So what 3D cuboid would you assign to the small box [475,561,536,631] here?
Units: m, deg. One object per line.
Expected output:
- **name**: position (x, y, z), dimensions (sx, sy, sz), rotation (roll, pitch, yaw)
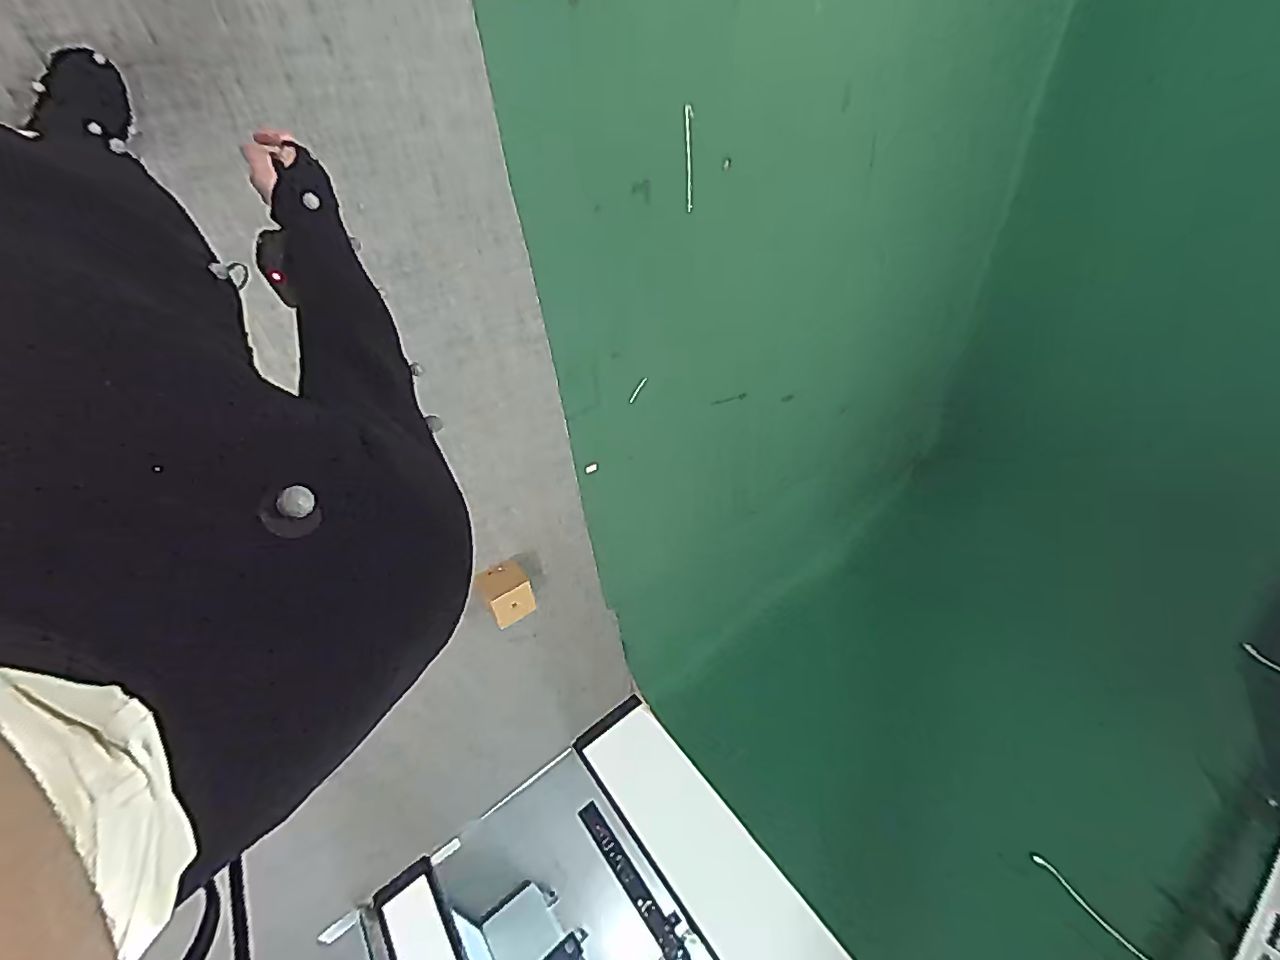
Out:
- **small box**: position (-0.540, 0.460, 2.165), dimensions (0.168, 0.176, 0.179), rotation (-27, 134, -26)
